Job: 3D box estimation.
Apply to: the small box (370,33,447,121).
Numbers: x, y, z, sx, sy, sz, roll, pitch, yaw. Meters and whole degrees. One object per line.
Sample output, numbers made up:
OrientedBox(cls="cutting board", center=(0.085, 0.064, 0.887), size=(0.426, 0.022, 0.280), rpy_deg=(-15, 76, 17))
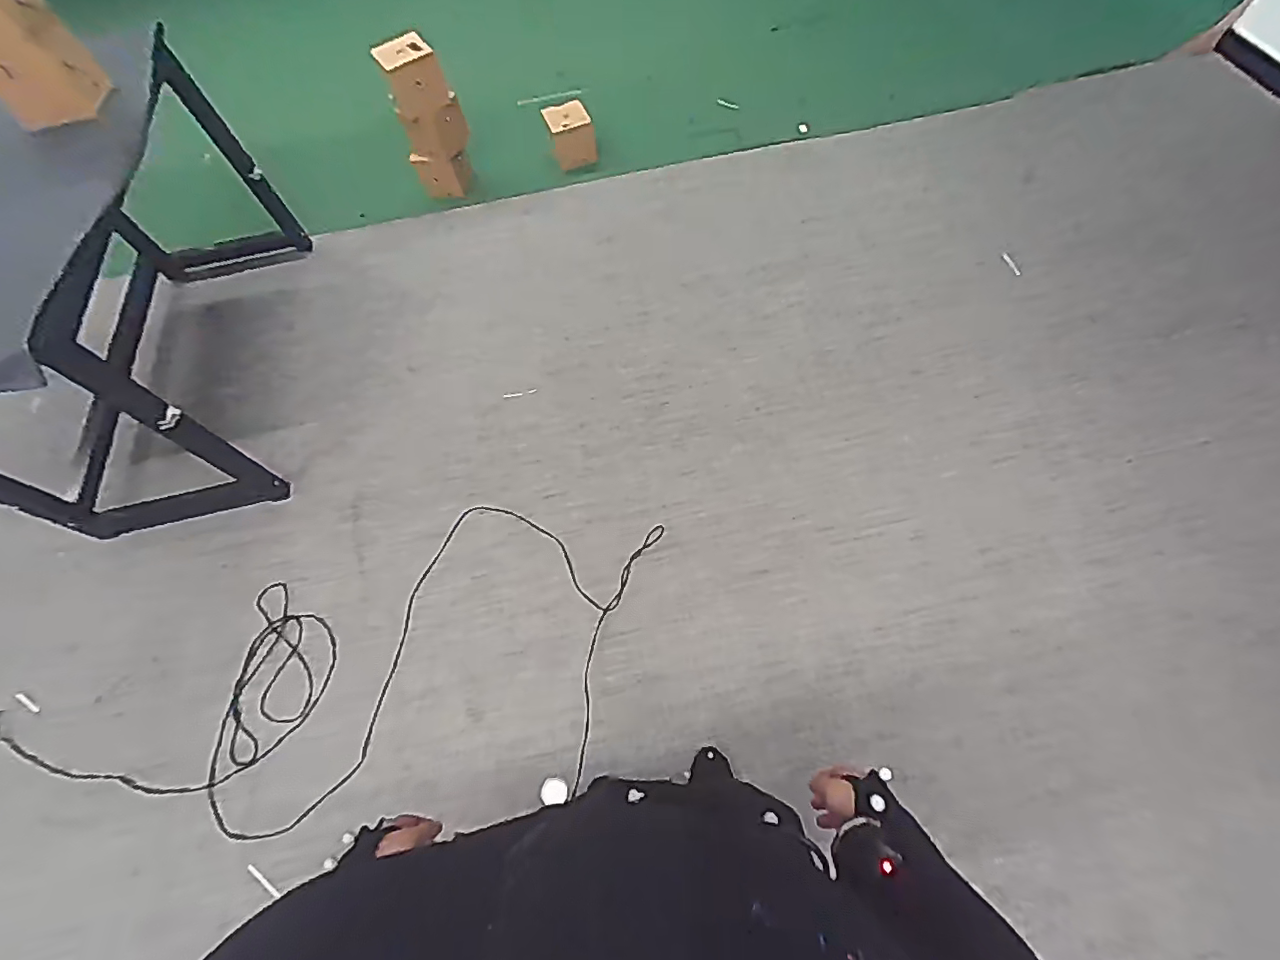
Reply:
OrientedBox(cls="small box", center=(-0.810, -1.425, 1.917), size=(0.179, 0.176, 0.168), rpy_deg=(-33, 67, -11))

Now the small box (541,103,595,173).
OrientedBox(cls="small box", center=(-0.295, -1.417, 2.242), size=(0.168, 0.176, 0.179), rpy_deg=(-20, 63, -7))

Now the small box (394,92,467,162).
OrientedBox(cls="small box", center=(-0.791, -1.355, 2.065), size=(0.168, 0.176, 0.179), rpy_deg=(22, 67, 13))

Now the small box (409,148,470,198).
OrientedBox(cls="small box", center=(-0.813, -1.281, 2.212), size=(0.168, 0.176, 0.179), rpy_deg=(3, 64, 5))

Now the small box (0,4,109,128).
OrientedBox(cls="small box", center=(-1.445, -0.986, 1.296), size=(0.179, 0.176, 0.168), rpy_deg=(-13, 64, -1))
